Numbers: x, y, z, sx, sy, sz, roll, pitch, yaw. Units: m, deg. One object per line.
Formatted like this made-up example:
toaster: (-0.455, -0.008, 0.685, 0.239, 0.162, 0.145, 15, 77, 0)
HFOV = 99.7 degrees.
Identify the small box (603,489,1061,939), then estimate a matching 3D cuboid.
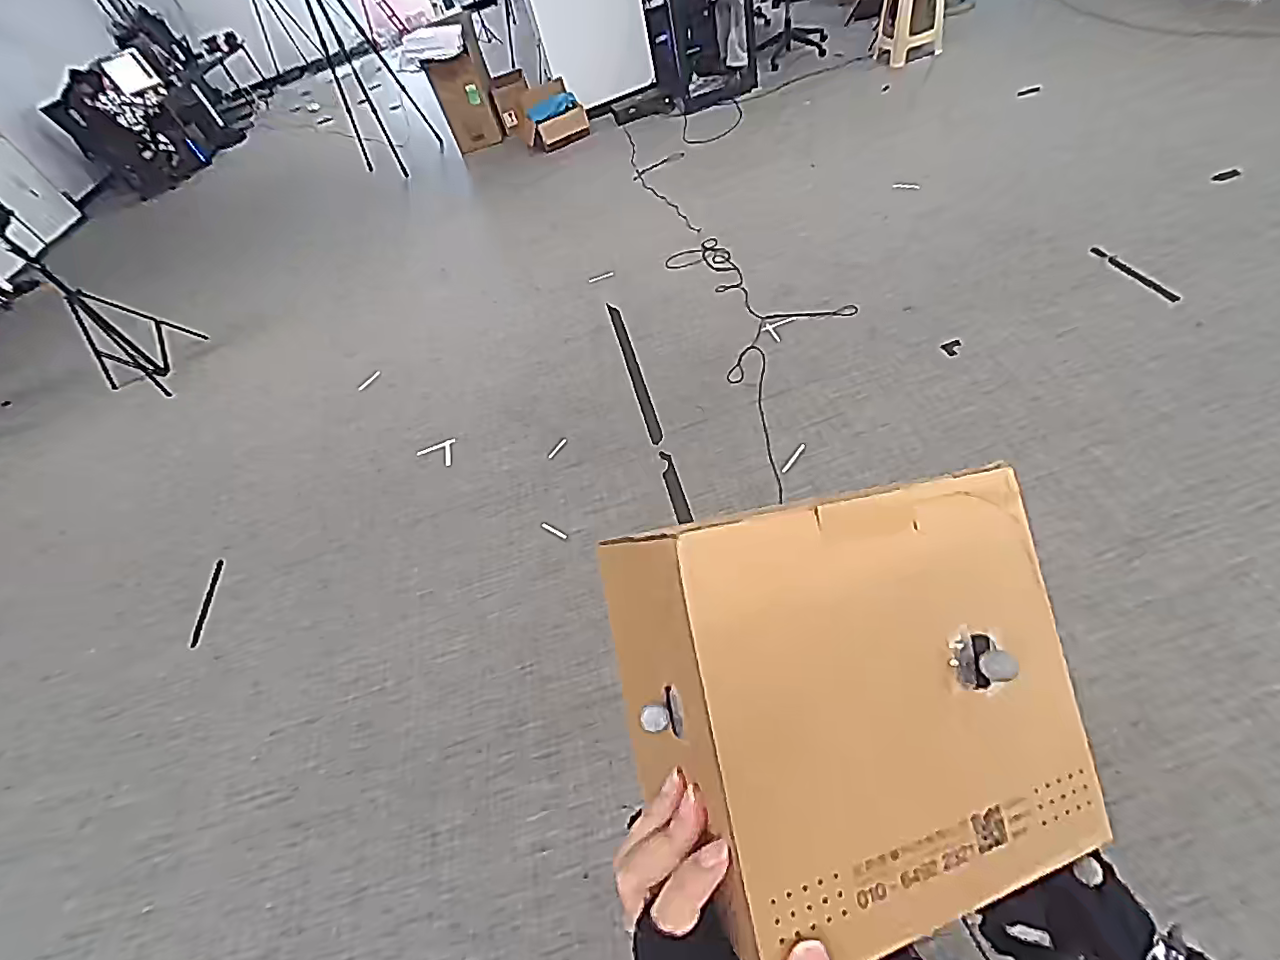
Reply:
small box: (0.087, 0.111, 0.310, 0.168, 0.179, 0.176, -10, 84, -15)
